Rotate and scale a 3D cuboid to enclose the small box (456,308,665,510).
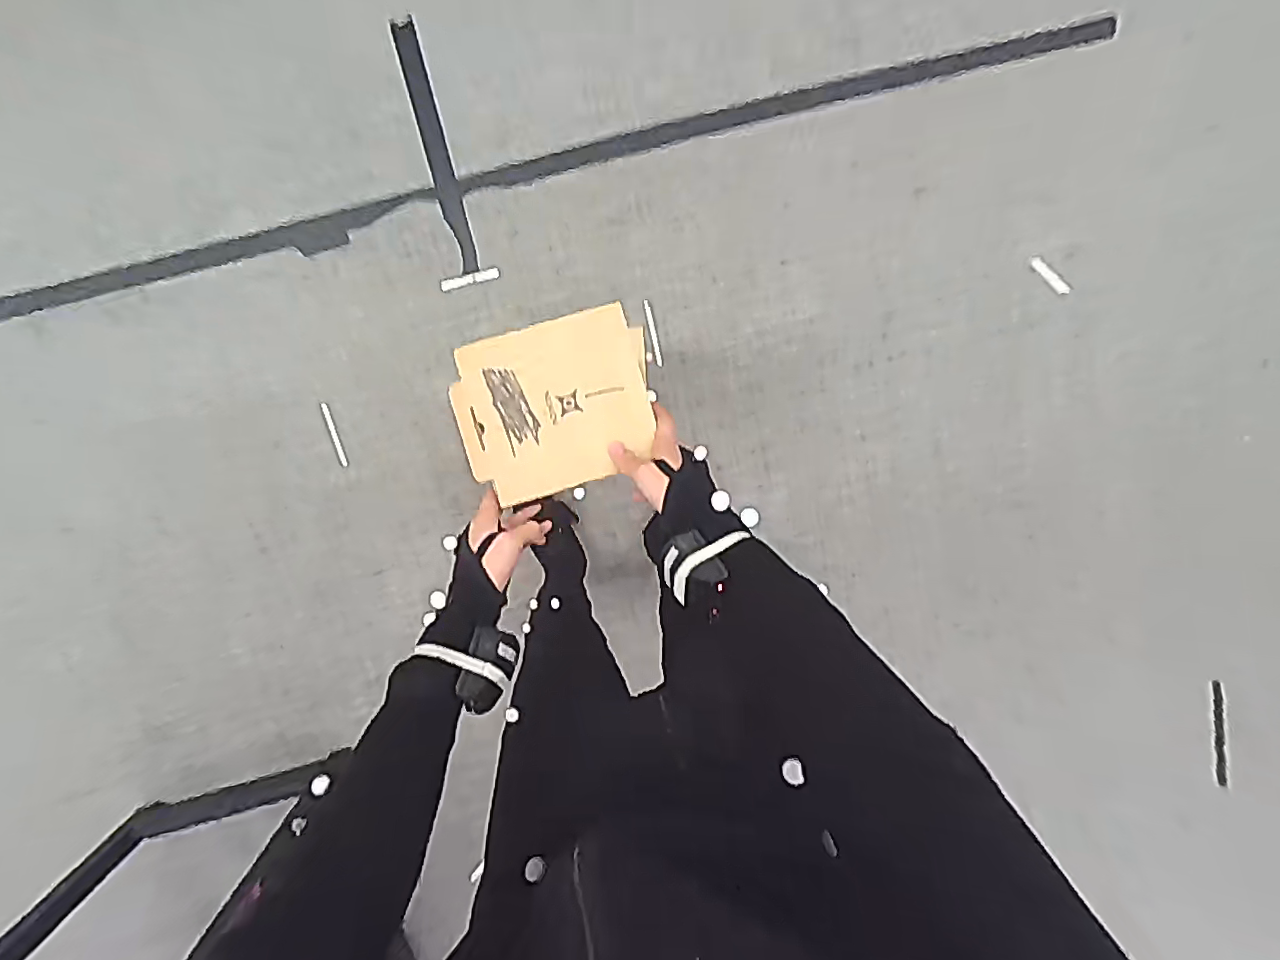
[{"bbox_3d":[-0.080,-0.071,0.614,0.179,0.176,0.168,-17,93,-2],"label":"small box"}]
